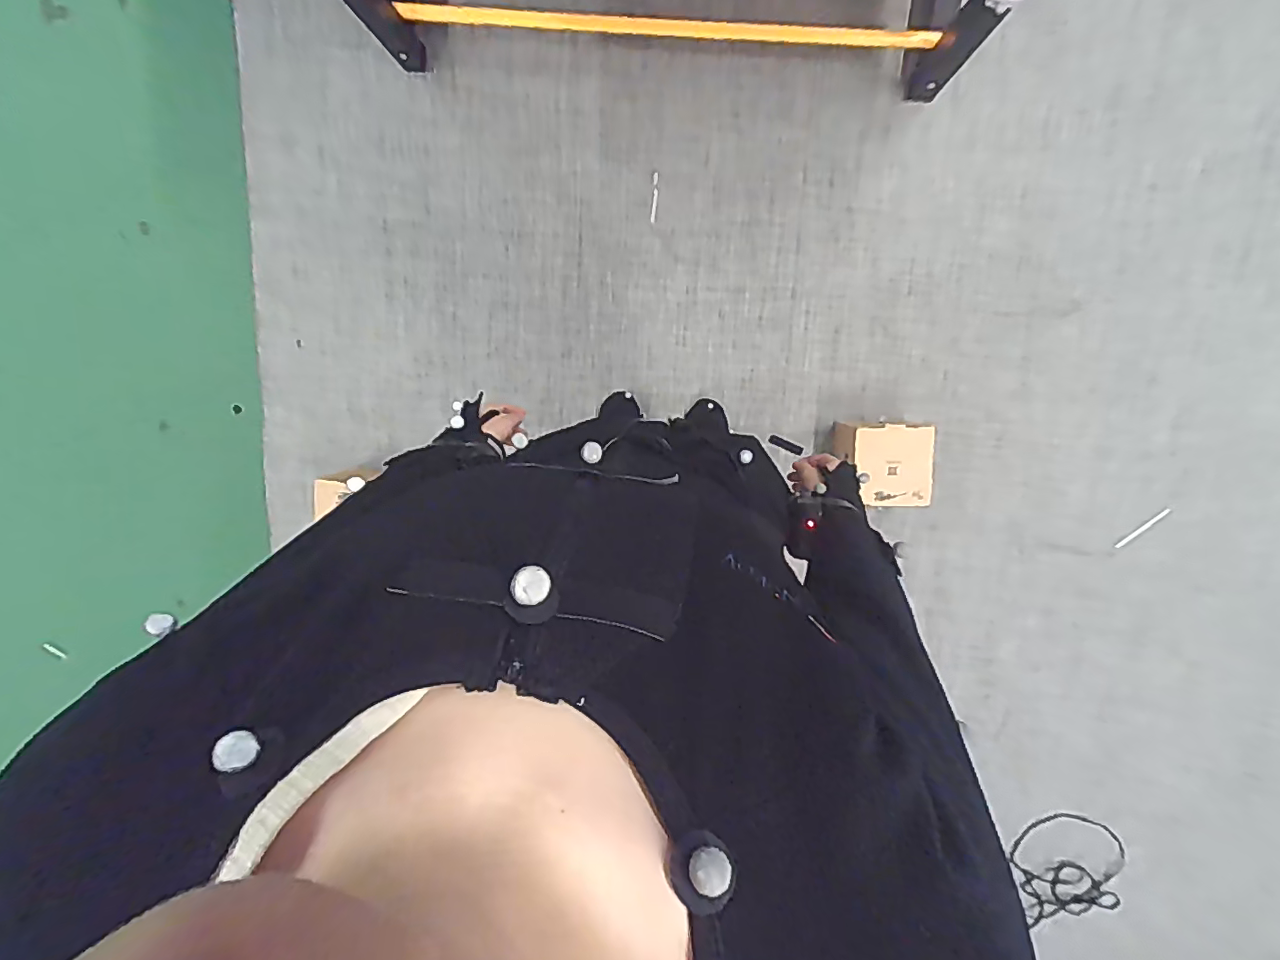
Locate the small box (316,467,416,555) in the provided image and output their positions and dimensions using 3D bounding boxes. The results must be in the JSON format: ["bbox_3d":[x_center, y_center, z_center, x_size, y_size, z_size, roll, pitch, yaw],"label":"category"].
[{"bbox_3d":[-0.675,0.070,1.347,0.168,0.176,0.179,7,102,3],"label":"small box"}]

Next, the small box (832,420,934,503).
[{"bbox_3d":[0.546,-0.047,1.235,0.168,0.176,0.179,-1,99,4],"label":"small box"}]
